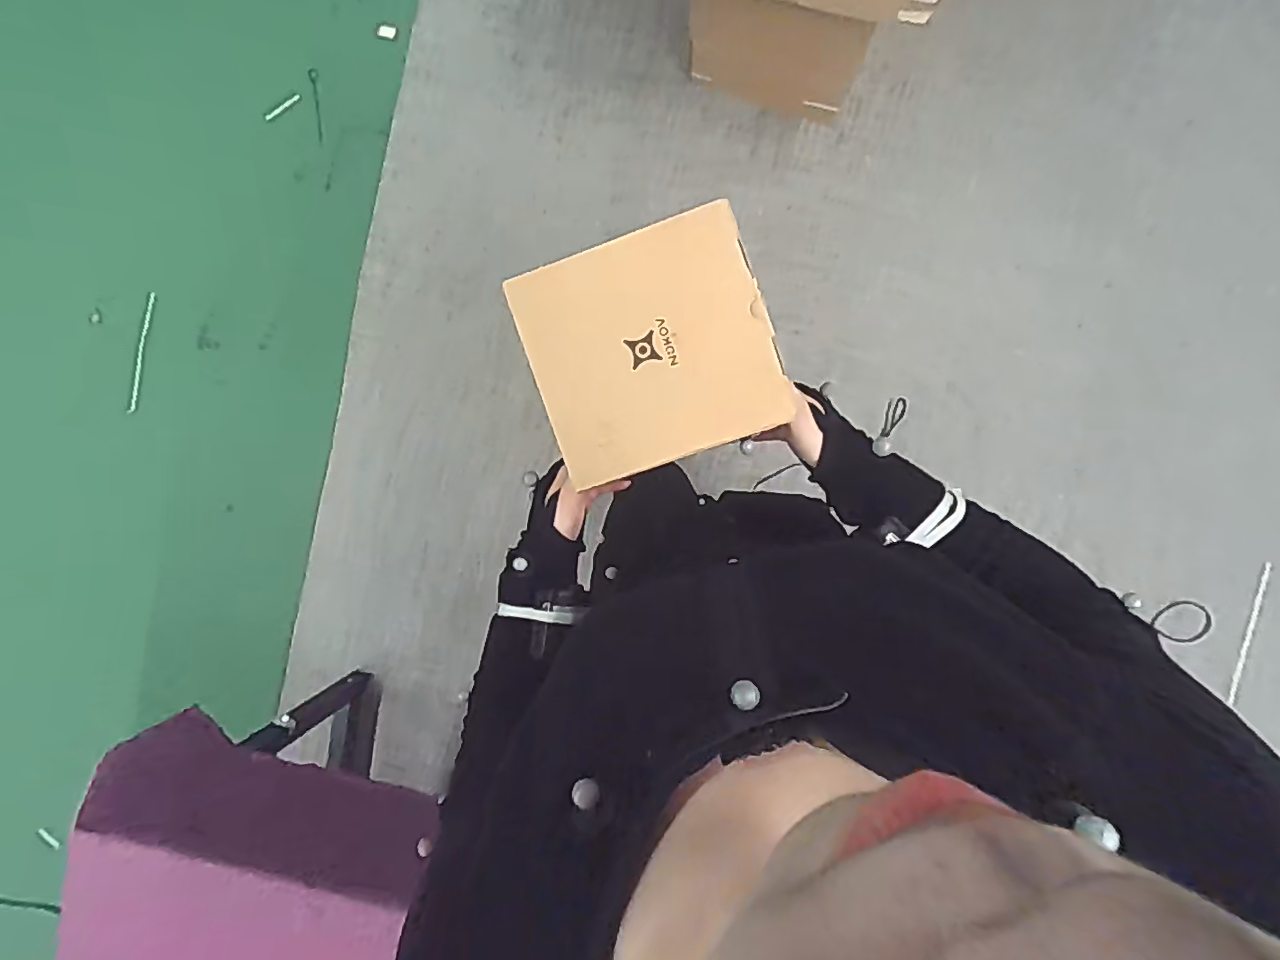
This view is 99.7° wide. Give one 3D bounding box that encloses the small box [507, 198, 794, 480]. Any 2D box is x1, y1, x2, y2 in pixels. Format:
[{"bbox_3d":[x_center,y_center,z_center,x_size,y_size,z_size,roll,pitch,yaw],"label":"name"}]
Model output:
[{"bbox_3d":[0.011,-0.103,0.474,0.179,0.176,0.168,-18,92,3],"label":"small box"}]
